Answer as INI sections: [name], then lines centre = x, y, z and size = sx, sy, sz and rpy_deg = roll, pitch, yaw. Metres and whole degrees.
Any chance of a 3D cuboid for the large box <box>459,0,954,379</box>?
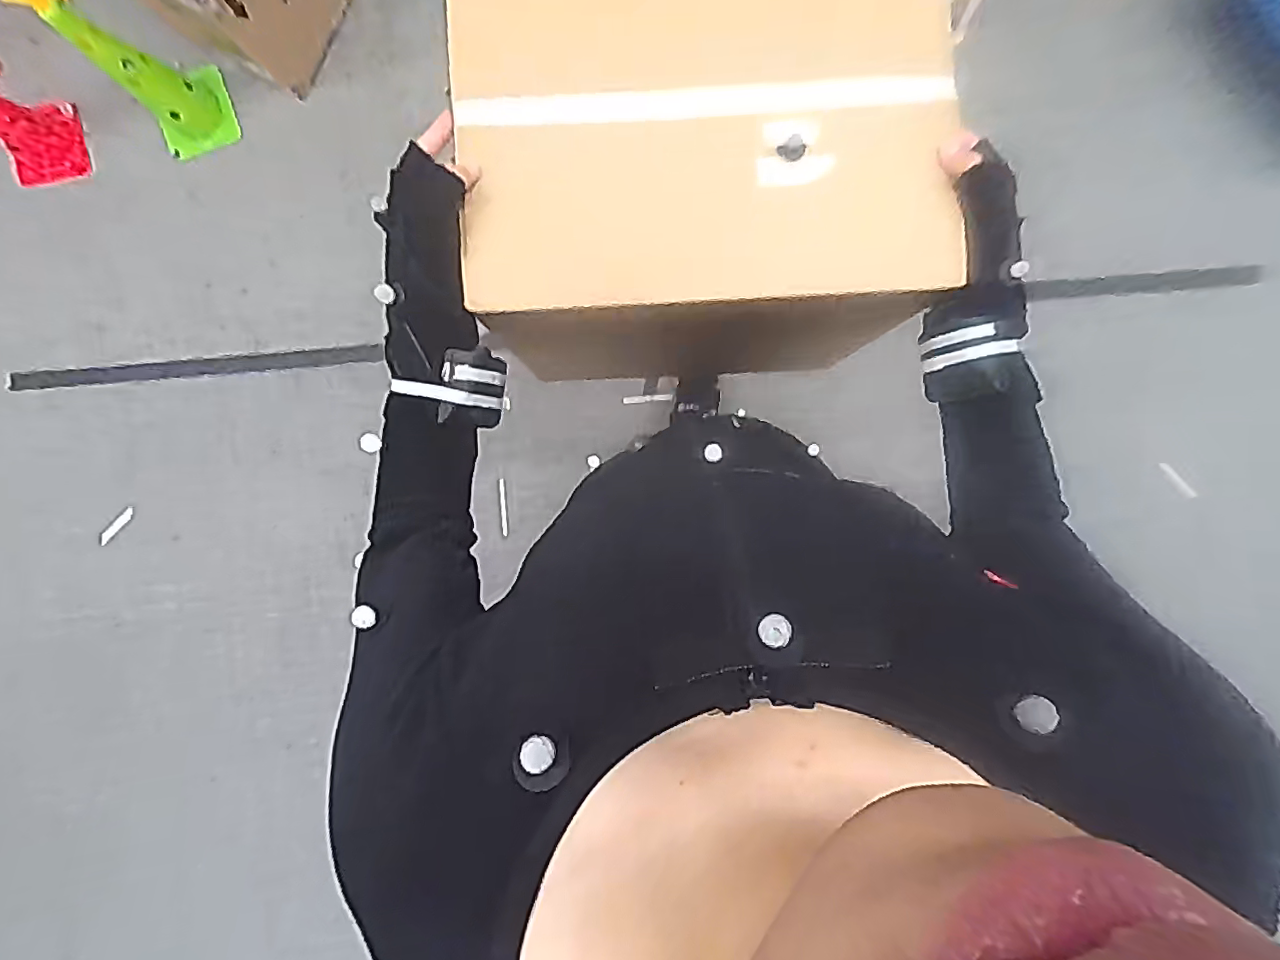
[large box]
centre = 0.051, -0.307, 0.598
size = 0.408, 0.320, 0.320
rpy_deg = -3, 89, -1
